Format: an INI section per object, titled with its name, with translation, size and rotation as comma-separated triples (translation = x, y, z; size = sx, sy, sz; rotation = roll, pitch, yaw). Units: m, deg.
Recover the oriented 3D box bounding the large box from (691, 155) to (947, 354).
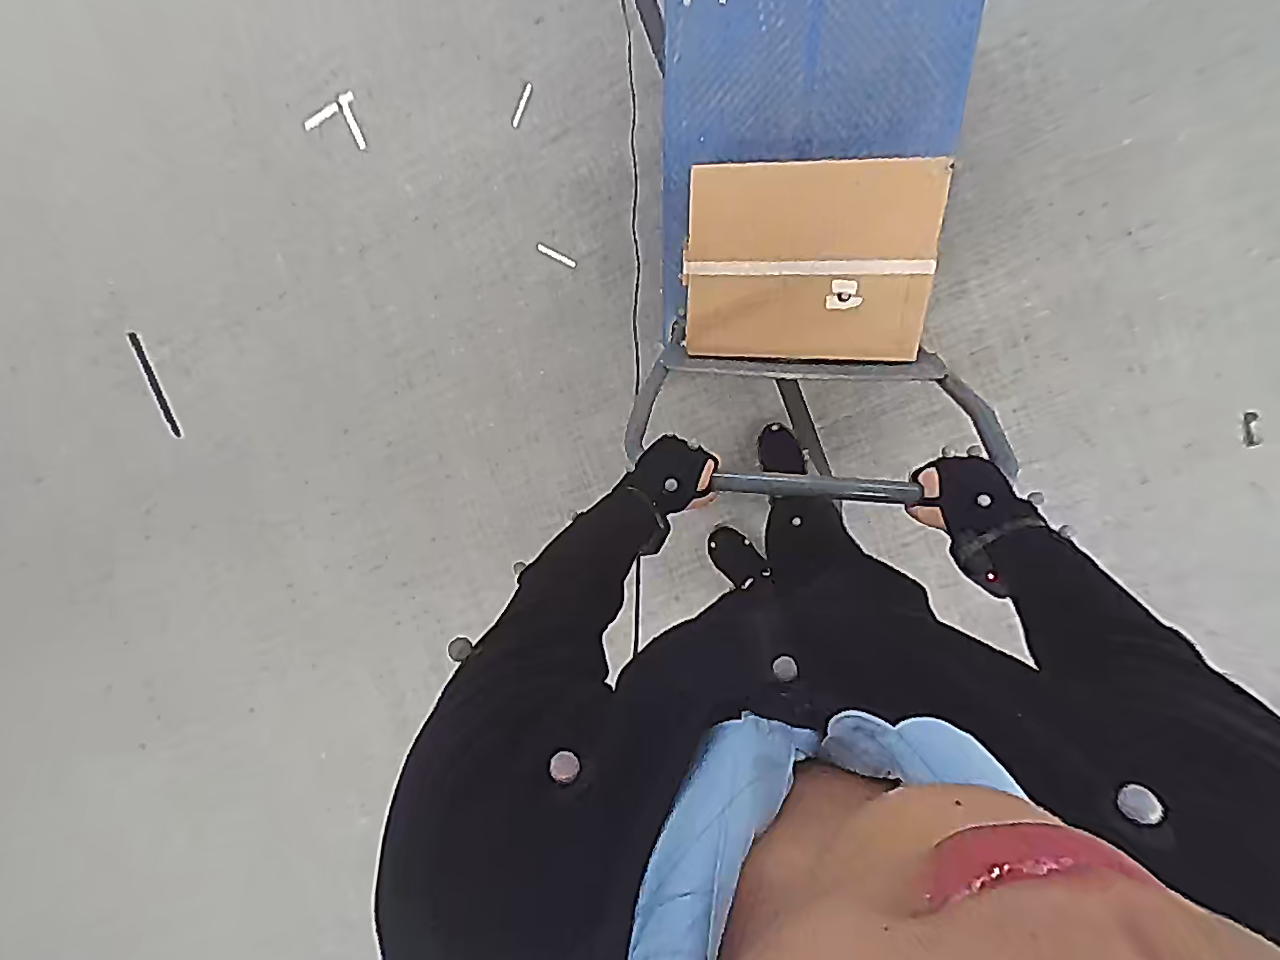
[large box]
translation = 0.312, -0.434, 1.068
size = 0.408, 0.320, 0.320
rotation = 4, 115, 9
